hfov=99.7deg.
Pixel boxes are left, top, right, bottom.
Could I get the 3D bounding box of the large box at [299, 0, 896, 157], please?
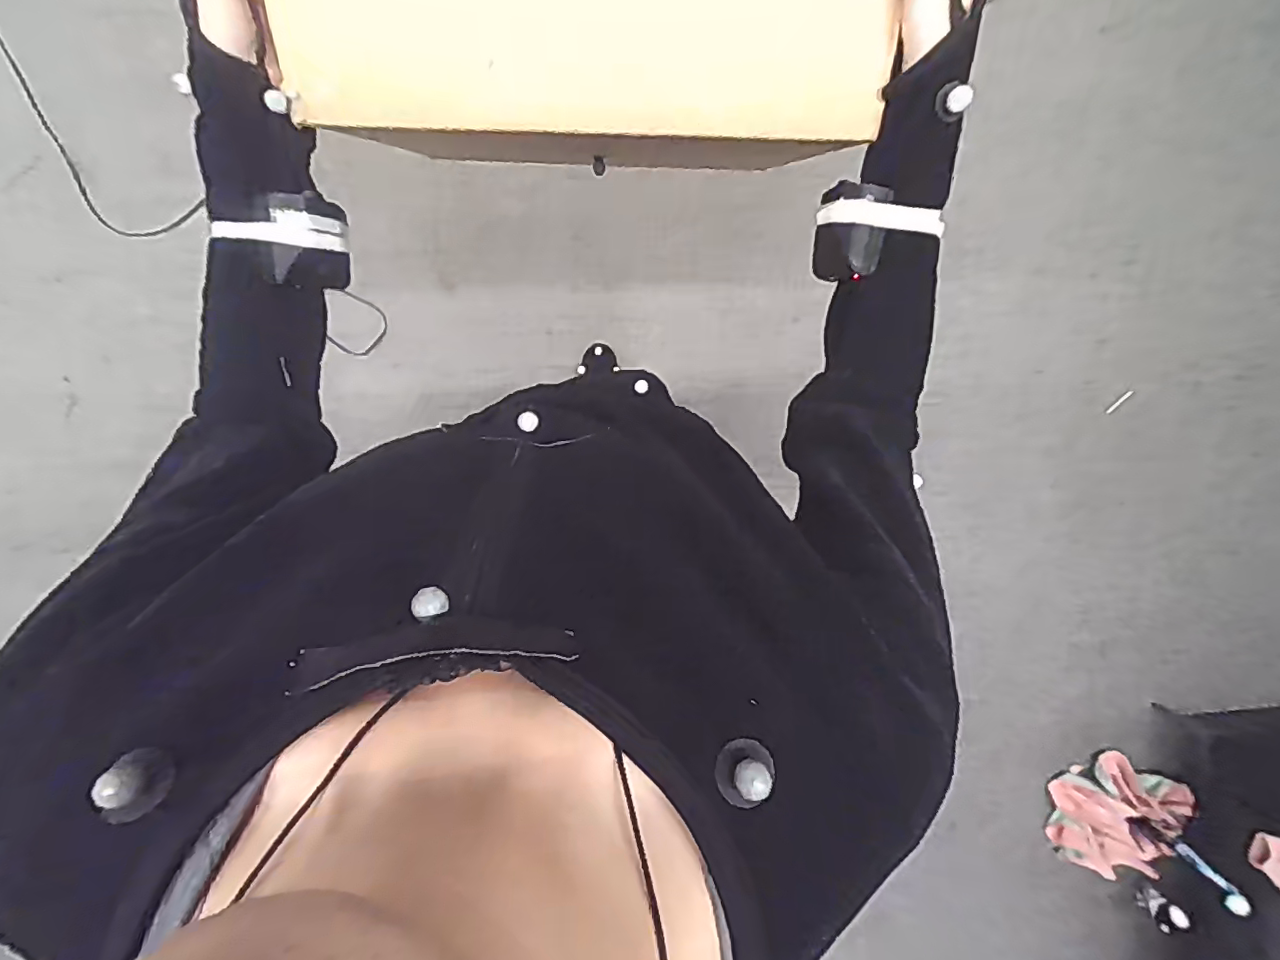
[{"bbox_3d":[-0.028,-0.458,0.454,0.408,0.320,0.320,0,116,-2],"label":"large box"}]
